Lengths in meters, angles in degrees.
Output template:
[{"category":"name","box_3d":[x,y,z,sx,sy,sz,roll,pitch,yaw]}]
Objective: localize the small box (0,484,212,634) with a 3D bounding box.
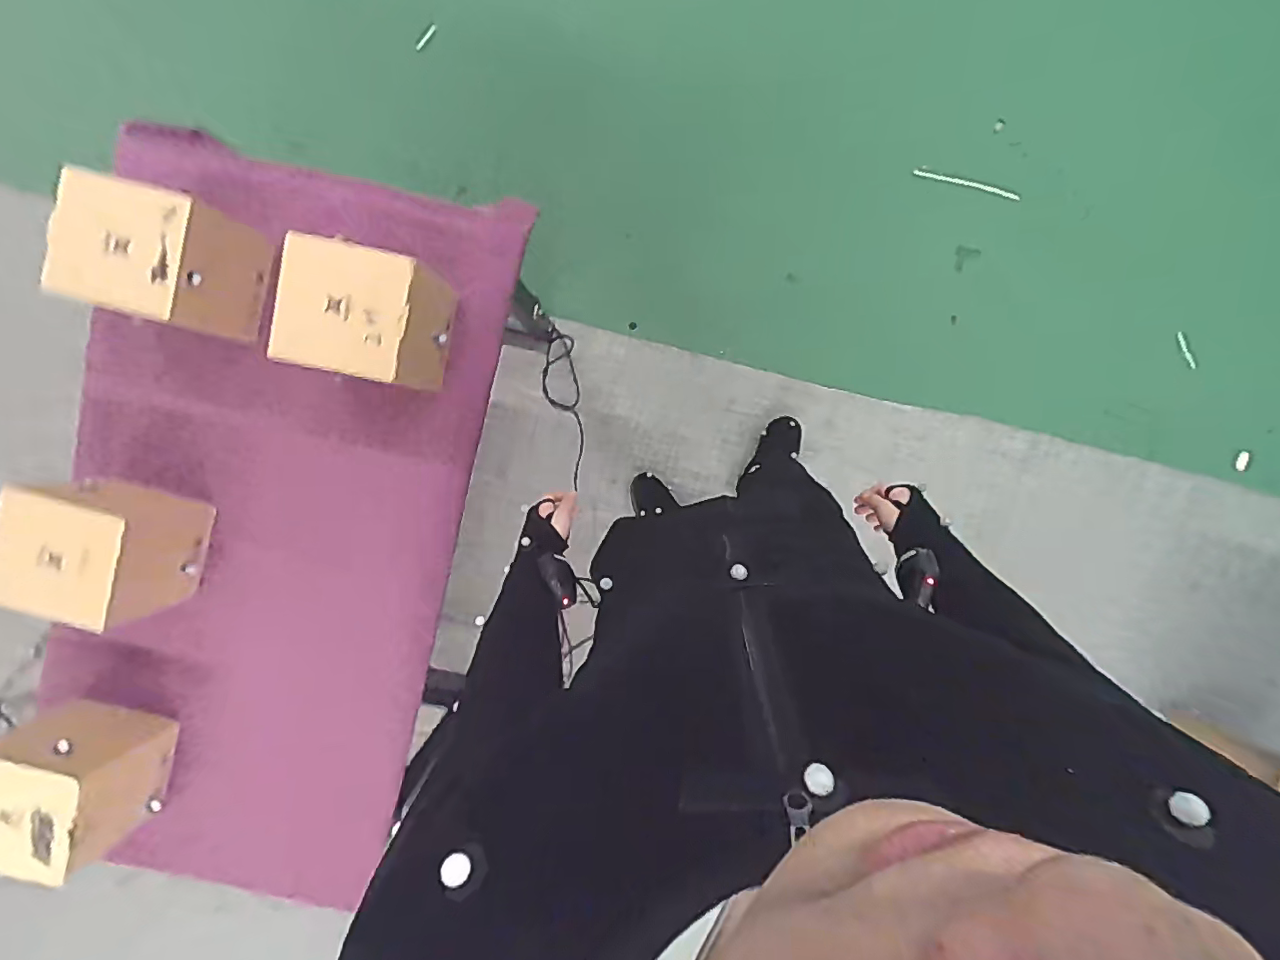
[{"category":"small box","box_3d":[-0.807,0.107,0.815,0.179,0.176,0.168,16,95,-3]}]

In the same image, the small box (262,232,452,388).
[{"category":"small box","box_3d":[-0.399,-0.233,0.788,0.179,0.176,0.168,12,96,-2]}]

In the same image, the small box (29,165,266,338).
[{"category":"small box","box_3d":[-0.693,-0.313,0.779,0.179,0.176,0.168,14,95,-2]}]

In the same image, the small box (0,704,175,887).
[{"category":"small box","box_3d":[-0.883,0.476,0.840,0.179,0.176,0.168,14,94,-3]}]
